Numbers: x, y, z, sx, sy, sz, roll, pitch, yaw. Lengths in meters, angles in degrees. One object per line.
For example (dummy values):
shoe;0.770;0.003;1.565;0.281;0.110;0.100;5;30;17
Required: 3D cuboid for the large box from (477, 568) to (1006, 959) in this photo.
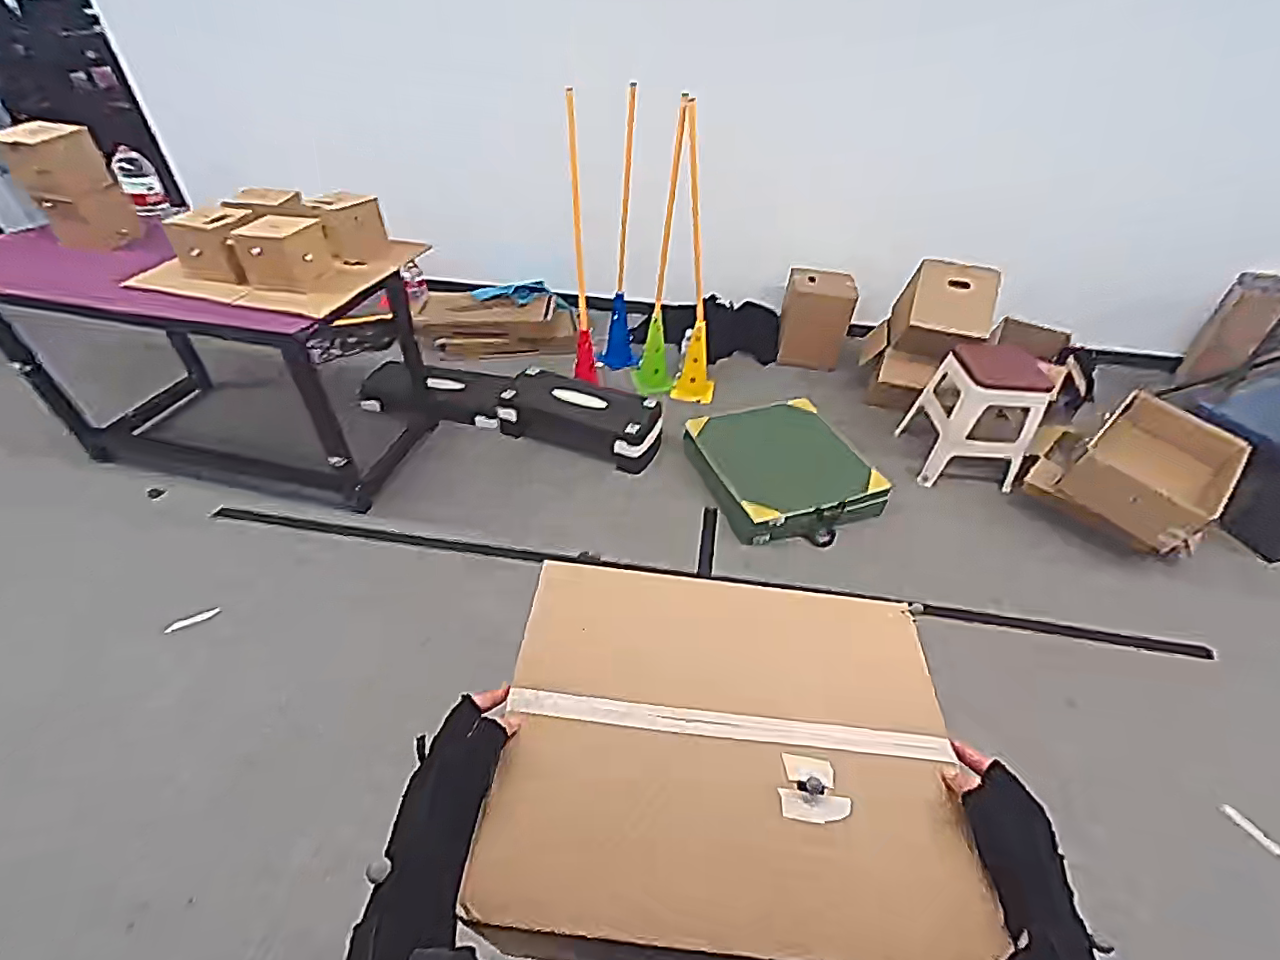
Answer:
large box;0.072;0.332;0.604;0.408;0.320;0.320;8;46;0
